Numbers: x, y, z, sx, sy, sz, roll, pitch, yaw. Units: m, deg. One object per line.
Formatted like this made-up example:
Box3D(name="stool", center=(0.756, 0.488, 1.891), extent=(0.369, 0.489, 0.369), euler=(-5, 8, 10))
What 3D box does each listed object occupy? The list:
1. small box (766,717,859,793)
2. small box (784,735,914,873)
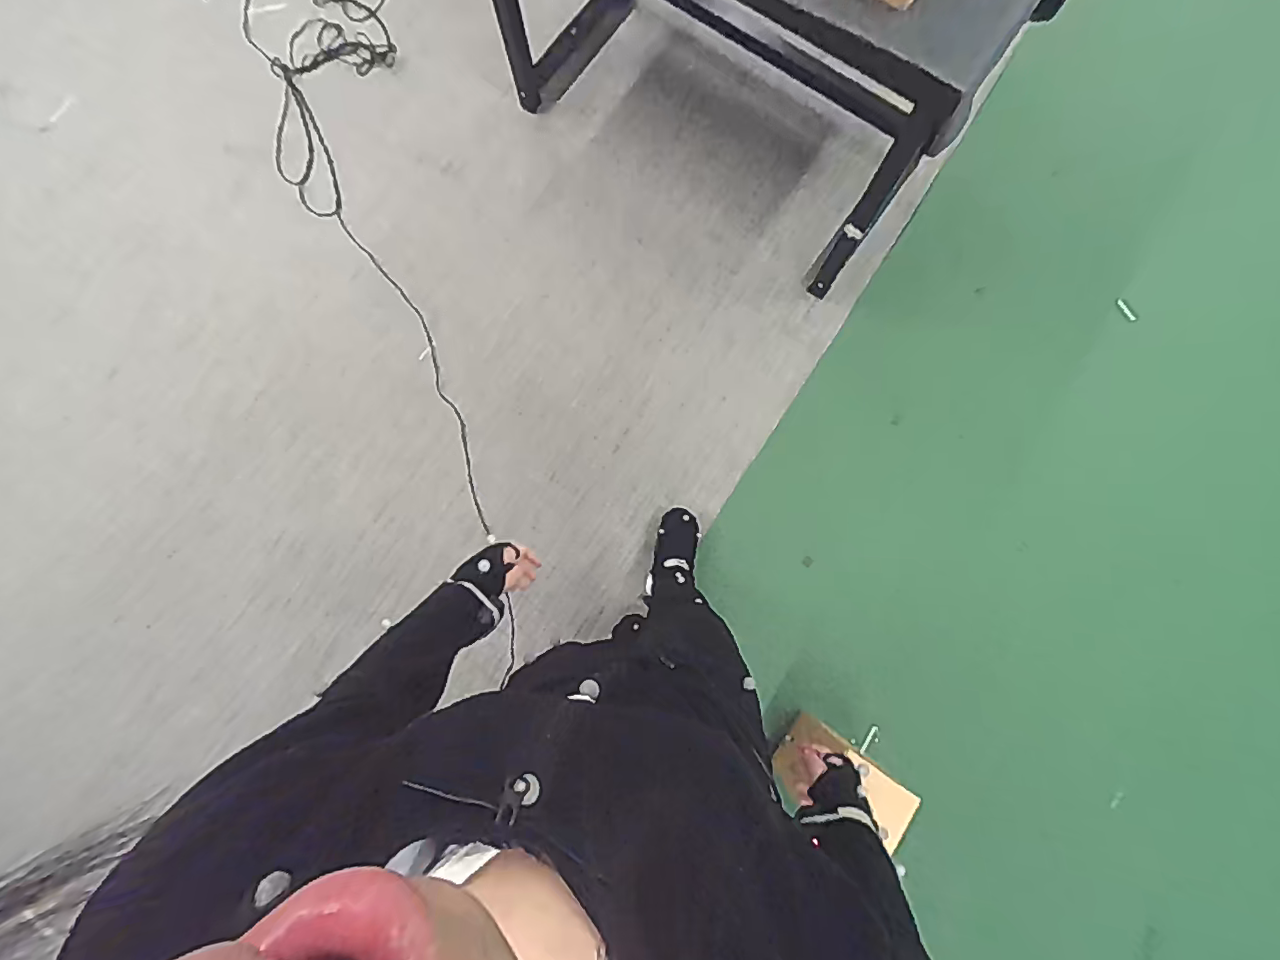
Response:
Box3D(name="small box", center=(0.442, 0.719, 1.341), extent=(0.179, 0.176, 0.168), euler=(34, 80, 5))
Box3D(name="small box", center=(0.447, 0.692, 1.181), extent=(0.179, 0.176, 0.168), euler=(33, 81, 5))
